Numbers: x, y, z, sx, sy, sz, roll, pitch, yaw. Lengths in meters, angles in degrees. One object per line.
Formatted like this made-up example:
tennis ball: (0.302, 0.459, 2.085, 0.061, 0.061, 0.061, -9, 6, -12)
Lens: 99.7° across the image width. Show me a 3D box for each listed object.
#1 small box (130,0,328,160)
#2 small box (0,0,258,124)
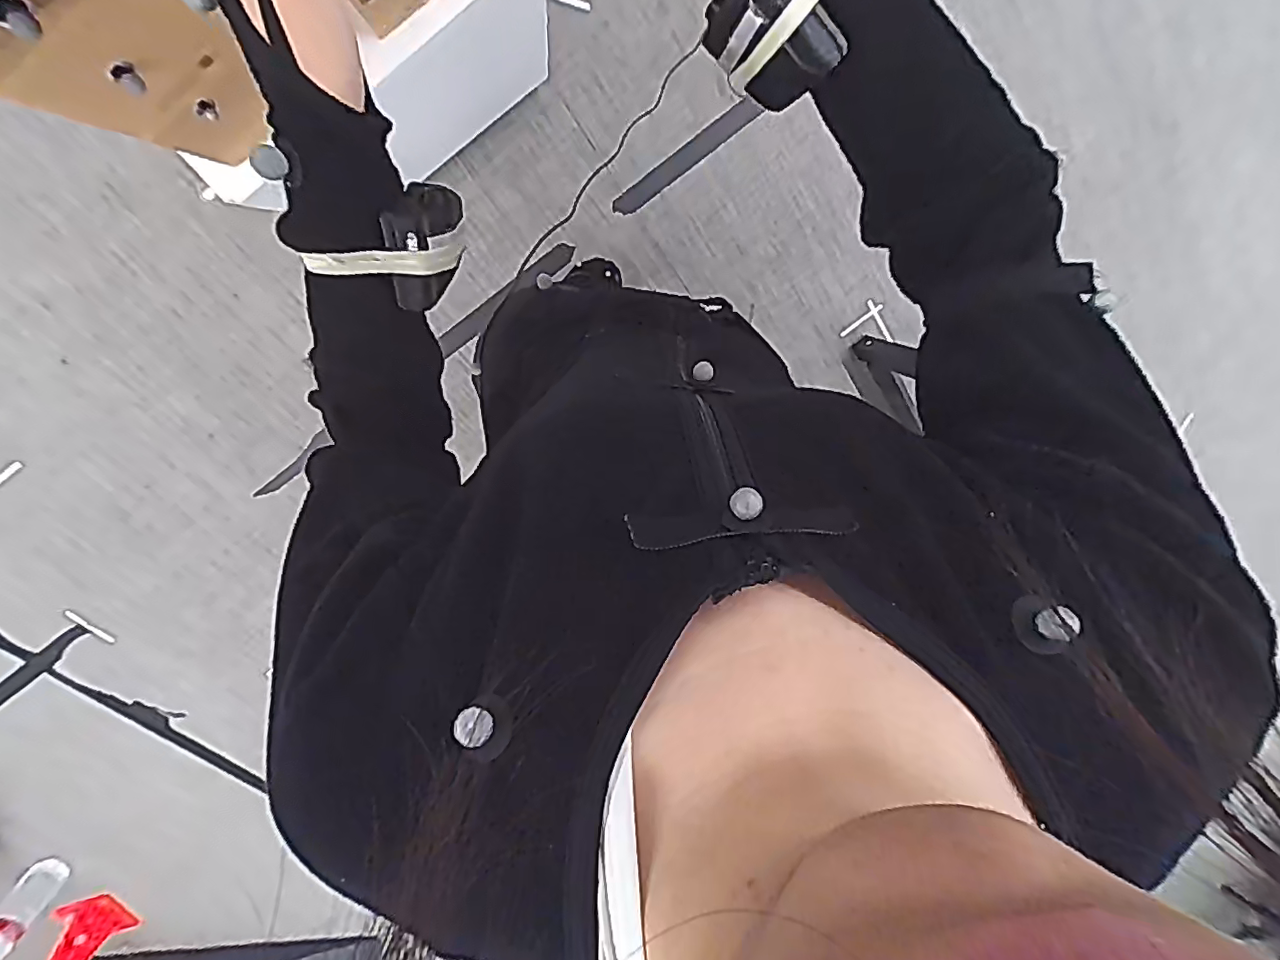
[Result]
small box: (-0.476, -0.472, 0.561, 0.168, 0.176, 0.179, -35, 112, 7)
small box: (-0.451, -0.410, 0.413, 0.168, 0.176, 0.179, -37, 112, 7)
